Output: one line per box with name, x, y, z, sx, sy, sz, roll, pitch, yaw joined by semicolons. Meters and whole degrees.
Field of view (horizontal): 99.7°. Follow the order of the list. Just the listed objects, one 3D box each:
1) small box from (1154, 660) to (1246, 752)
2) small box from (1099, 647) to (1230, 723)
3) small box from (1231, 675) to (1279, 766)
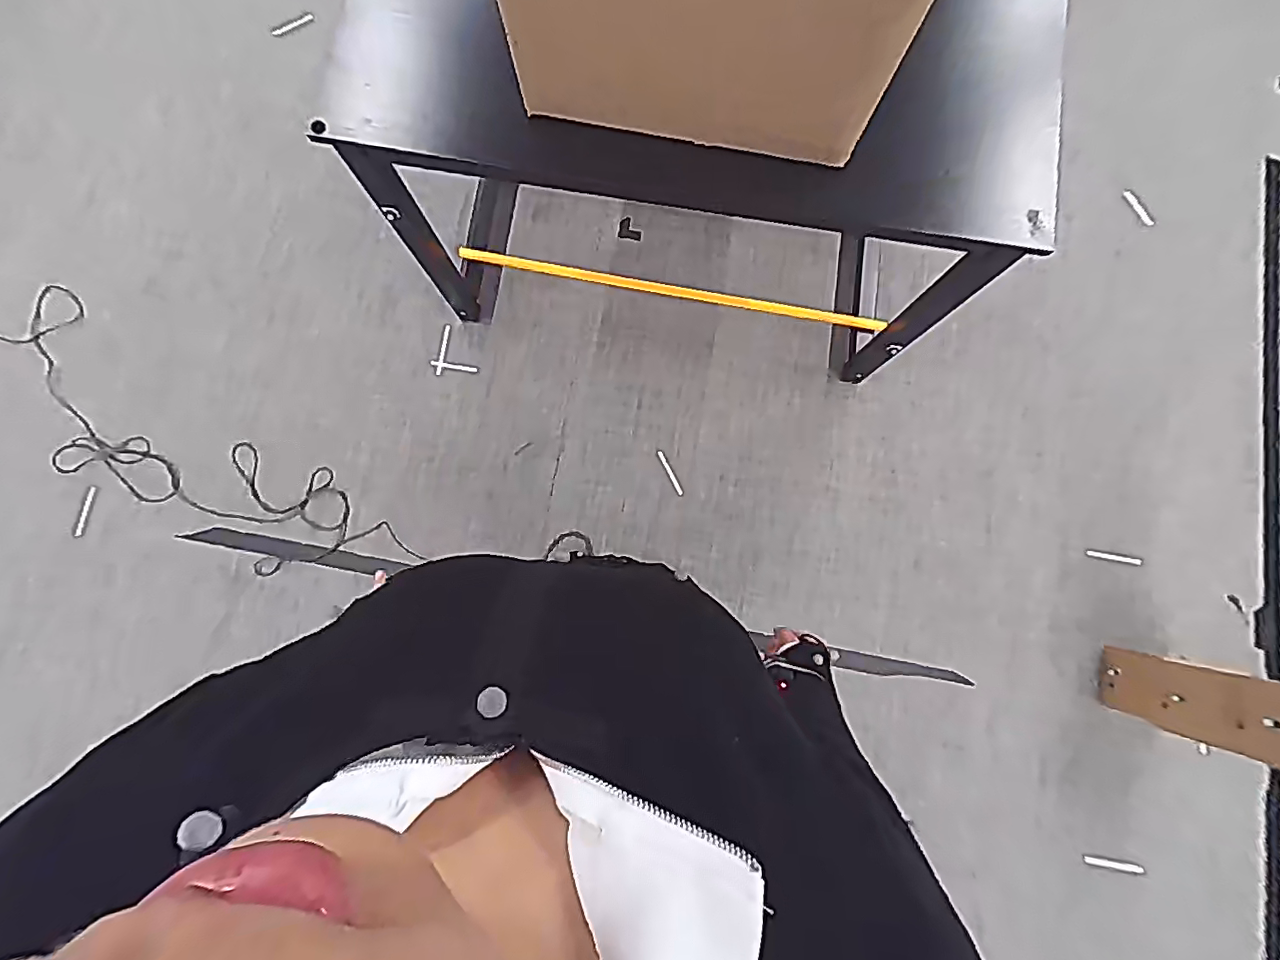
small box;1.342;0.521;1.233;0.179;0.176;0.168;11;81;1
small box;1.349;0.537;1.398;0.179;0.176;0.168;10;81;2
small box;1.342;0.497;1.071;0.179;0.176;0.168;11;82;1
